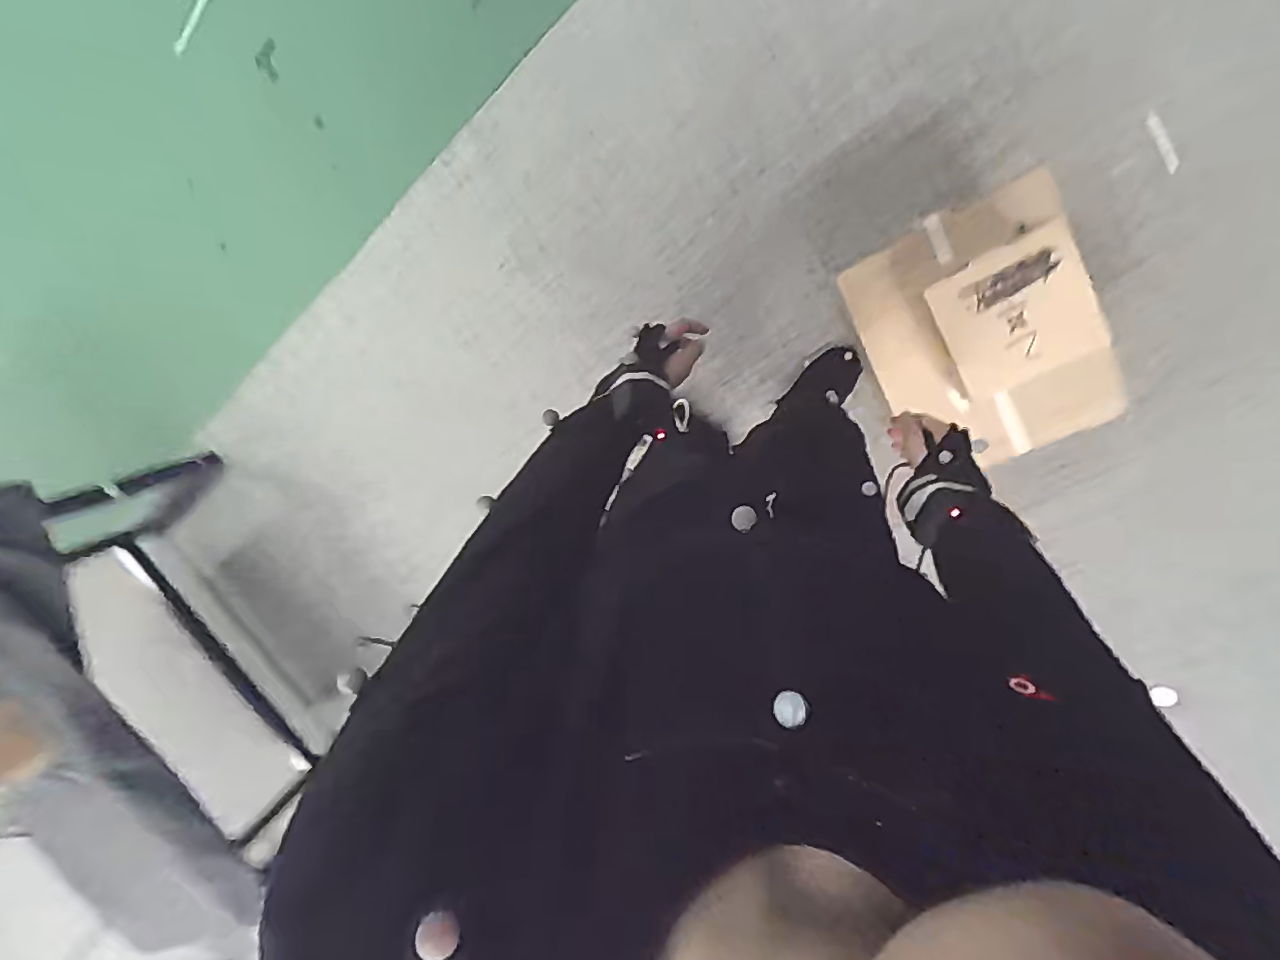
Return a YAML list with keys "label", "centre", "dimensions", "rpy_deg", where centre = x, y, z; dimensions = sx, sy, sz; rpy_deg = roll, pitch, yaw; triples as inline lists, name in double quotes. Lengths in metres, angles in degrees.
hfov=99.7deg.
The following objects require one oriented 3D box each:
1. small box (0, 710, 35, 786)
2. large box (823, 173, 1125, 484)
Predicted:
- label: "small box"
  centre: [-1.514, 0.628, 1.198]
  dimensions: [0.179, 0.176, 0.168]
  rpy_deg: [-39, 94, 26]
- label: "large box"
  centre: [0.575, -0.268, 1.002]
  dimensions: [0.320, 0.320, 0.408]
  rpy_deg: [-24, 102, 23]
